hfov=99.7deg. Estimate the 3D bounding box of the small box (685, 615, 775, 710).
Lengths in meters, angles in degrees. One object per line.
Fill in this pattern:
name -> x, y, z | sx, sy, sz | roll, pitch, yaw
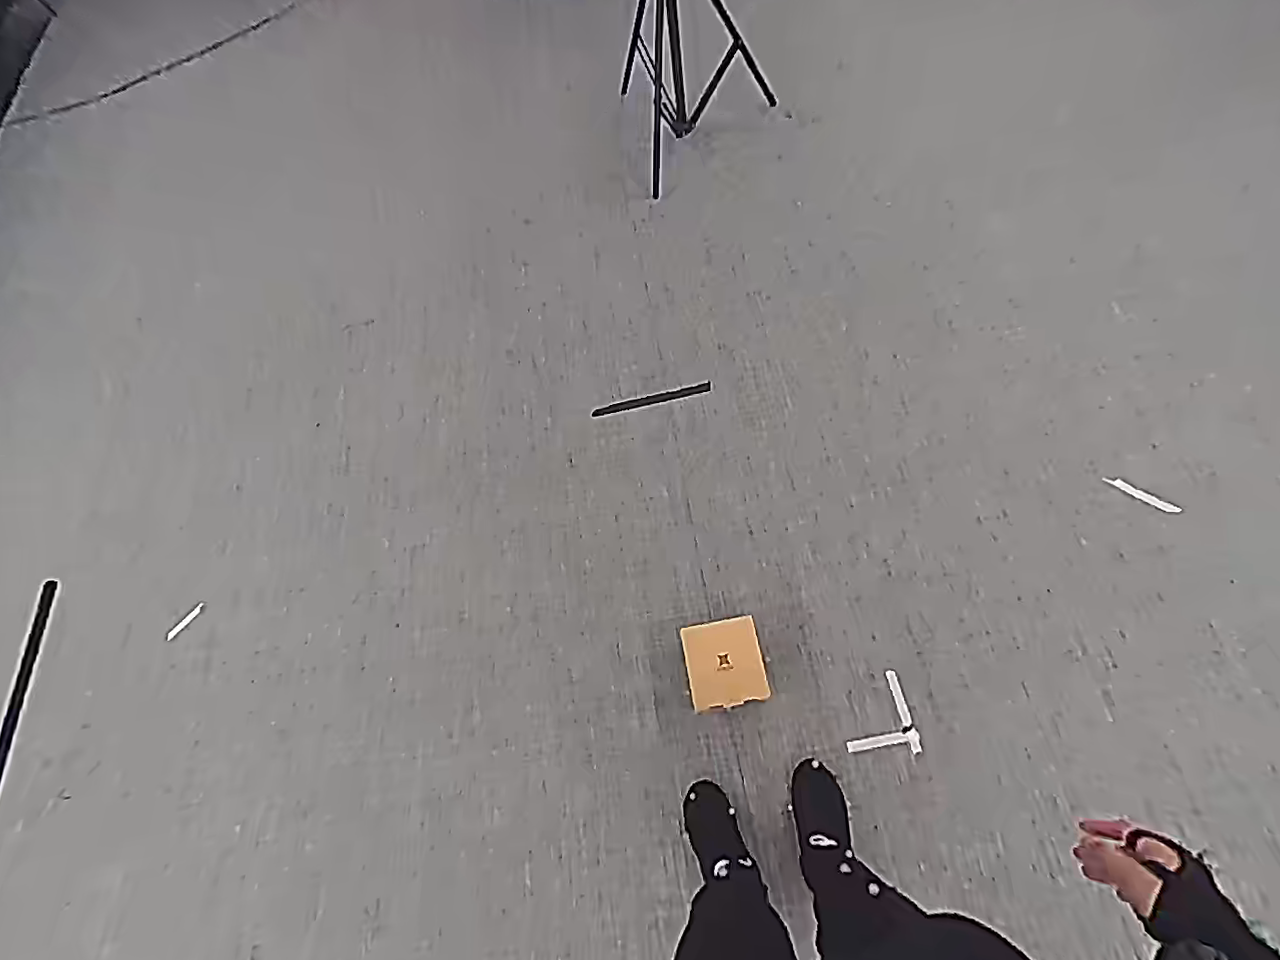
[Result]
small box -> 0.202, 0.424, 1.242 | 0.168, 0.176, 0.179 | -13, 67, 5
